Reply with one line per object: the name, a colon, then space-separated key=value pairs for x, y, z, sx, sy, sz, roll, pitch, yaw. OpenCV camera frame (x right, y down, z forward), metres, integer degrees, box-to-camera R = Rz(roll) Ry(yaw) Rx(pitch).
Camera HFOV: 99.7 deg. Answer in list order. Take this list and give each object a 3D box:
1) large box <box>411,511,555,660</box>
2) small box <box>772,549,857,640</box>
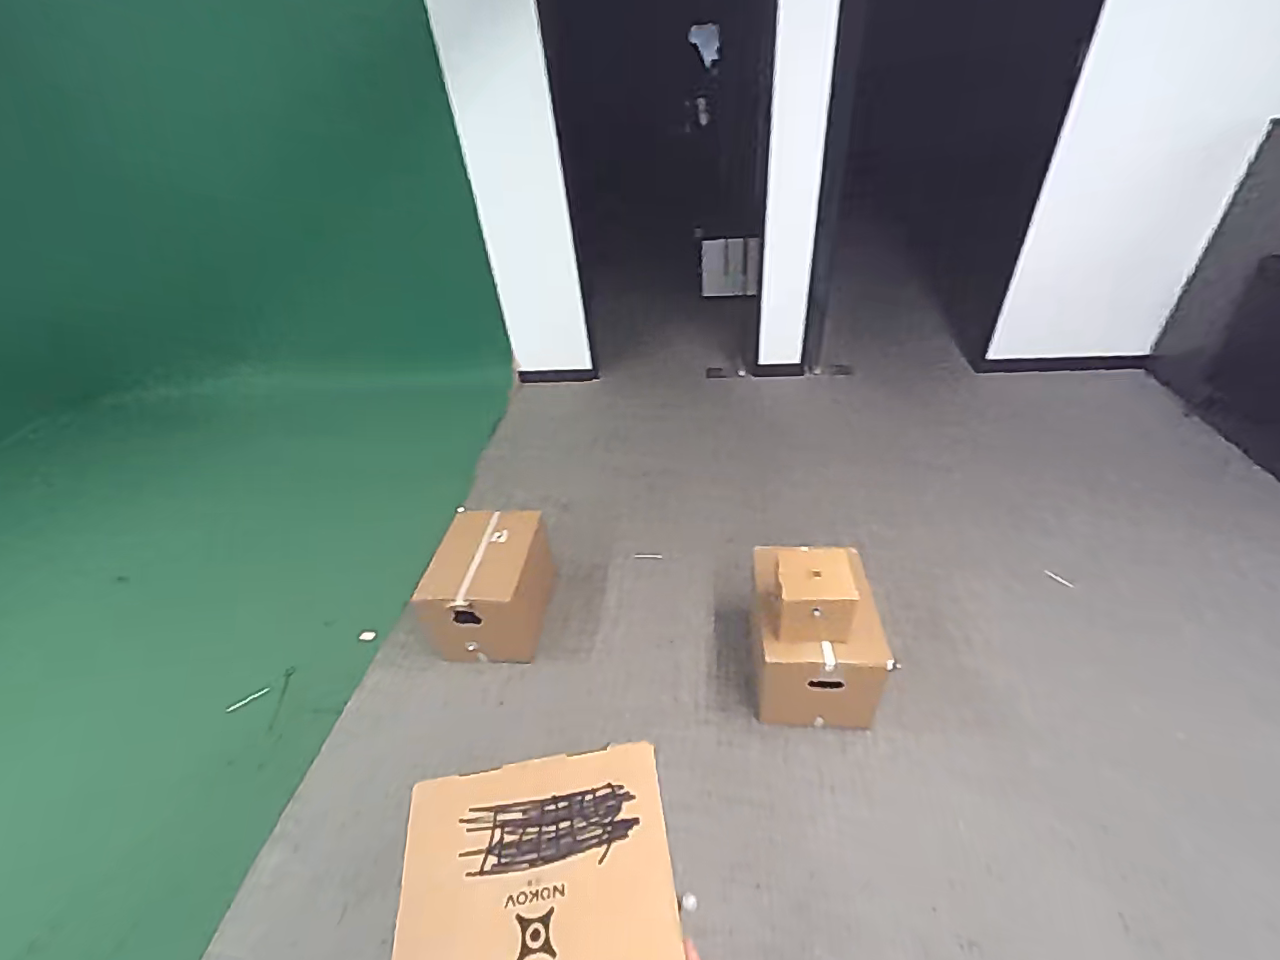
large box: x=-0.502 y=0.353 z=1.829 sx=0.320 sy=0.320 sz=0.408 roll=-1 pitch=38 yaw=7
small box: x=0.439 y=0.295 z=1.387 sx=0.179 sy=0.176 sz=0.168 roll=-3 pitch=39 yaw=8
